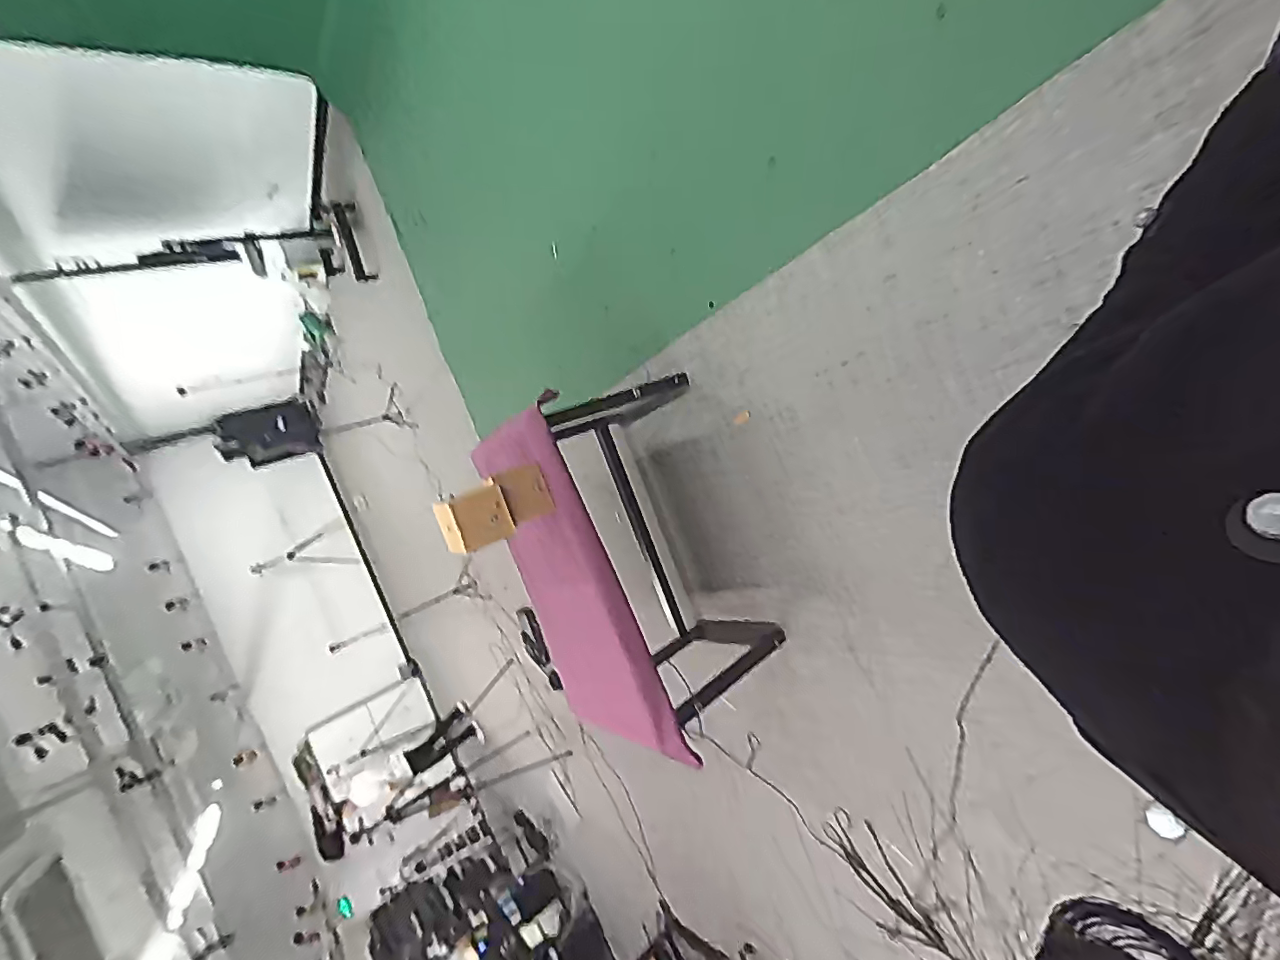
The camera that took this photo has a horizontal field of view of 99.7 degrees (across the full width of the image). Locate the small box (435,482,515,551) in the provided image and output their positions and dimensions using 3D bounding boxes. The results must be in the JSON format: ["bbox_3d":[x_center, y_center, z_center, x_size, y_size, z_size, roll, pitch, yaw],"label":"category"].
[{"bbox_3d":[-0.515,0.111,1.696,0.179,0.176,0.168,-7,104,54],"label":"small box"}]

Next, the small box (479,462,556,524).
[{"bbox_3d":[-0.407,0.049,1.804,0.168,0.176,0.179,-20,92,56],"label":"small box"}]
